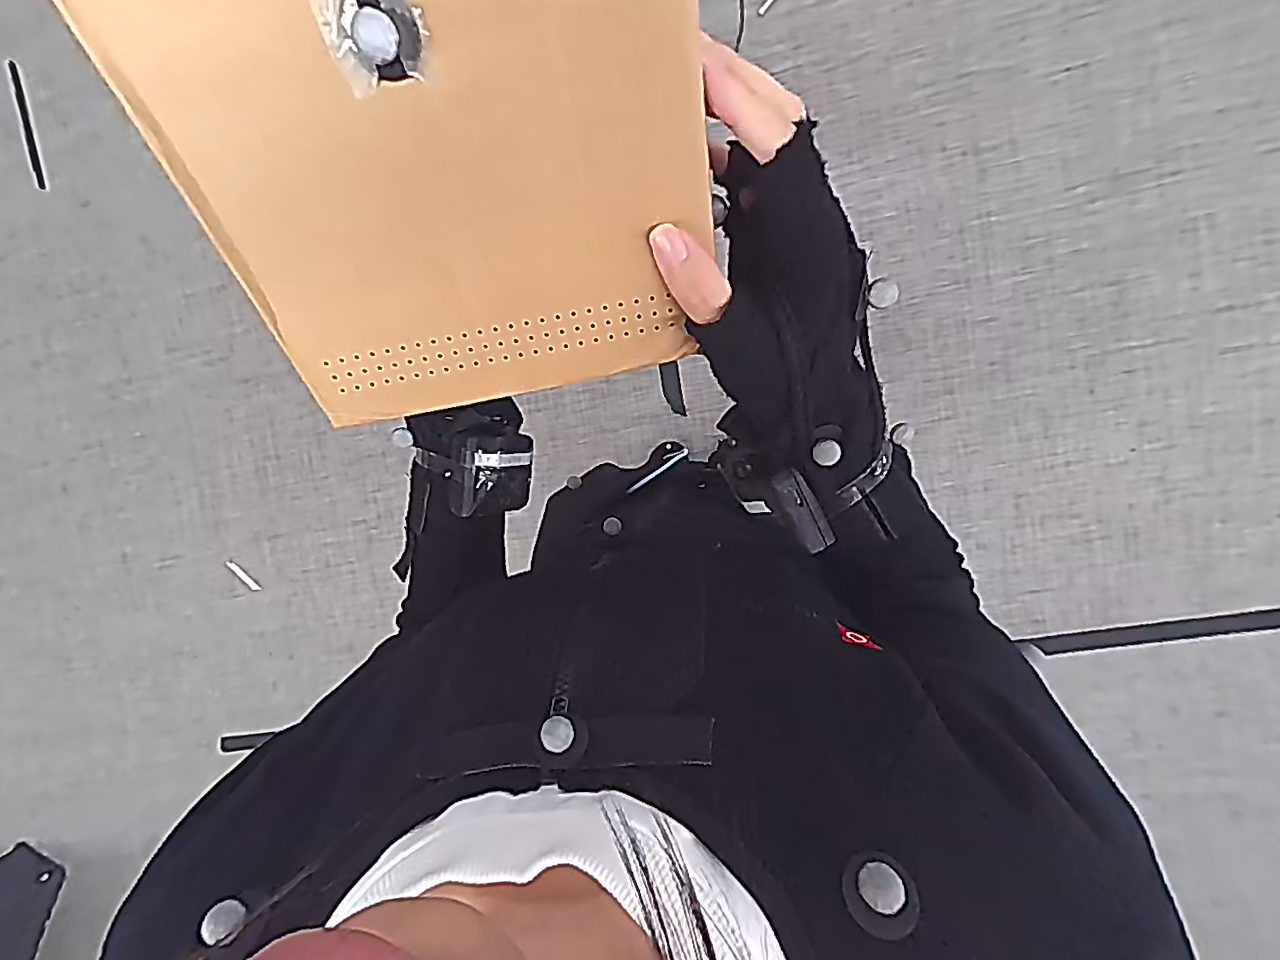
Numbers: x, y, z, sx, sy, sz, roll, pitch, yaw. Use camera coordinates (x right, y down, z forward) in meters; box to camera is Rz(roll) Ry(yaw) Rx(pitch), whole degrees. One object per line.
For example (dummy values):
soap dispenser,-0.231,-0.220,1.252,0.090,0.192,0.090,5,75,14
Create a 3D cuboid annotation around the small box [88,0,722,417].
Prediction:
small box,-0.066,-0.147,0.248,0.179,0.168,0.176,-10,132,2
